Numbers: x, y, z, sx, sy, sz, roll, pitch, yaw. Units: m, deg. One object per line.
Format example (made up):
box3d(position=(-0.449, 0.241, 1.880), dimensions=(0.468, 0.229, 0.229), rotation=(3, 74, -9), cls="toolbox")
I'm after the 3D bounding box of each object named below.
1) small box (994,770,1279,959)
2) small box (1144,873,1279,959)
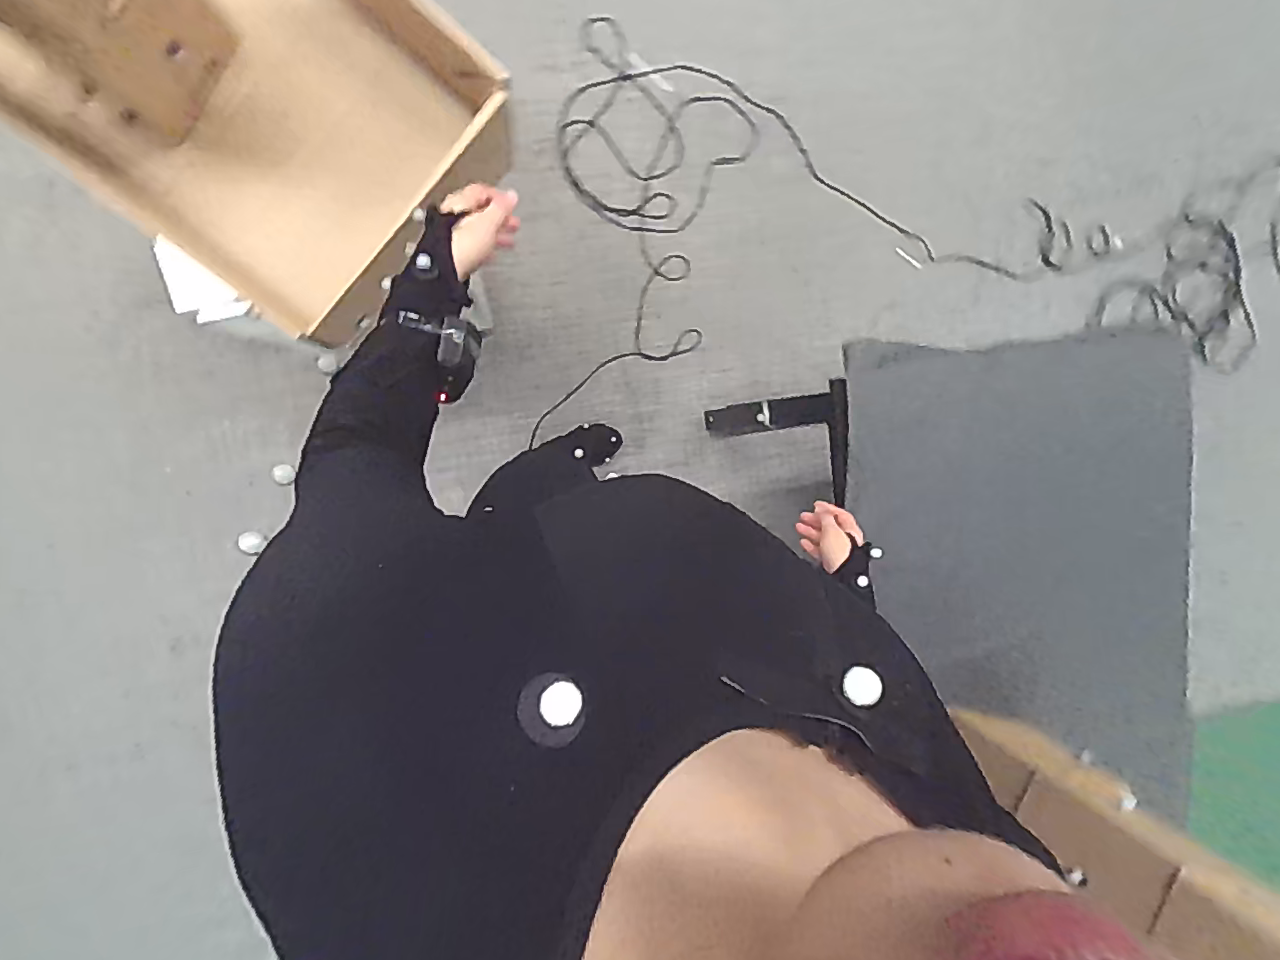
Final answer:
box3d(position=(0.569, 0.491, 0.641), dimensions=(0.168, 0.176, 0.179), rotation=(24, 90, -12), cls="small box")
box3d(position=(0.598, 0.501, 0.481), dimensions=(0.168, 0.176, 0.179), rotation=(21, 91, -12), cls="small box")
